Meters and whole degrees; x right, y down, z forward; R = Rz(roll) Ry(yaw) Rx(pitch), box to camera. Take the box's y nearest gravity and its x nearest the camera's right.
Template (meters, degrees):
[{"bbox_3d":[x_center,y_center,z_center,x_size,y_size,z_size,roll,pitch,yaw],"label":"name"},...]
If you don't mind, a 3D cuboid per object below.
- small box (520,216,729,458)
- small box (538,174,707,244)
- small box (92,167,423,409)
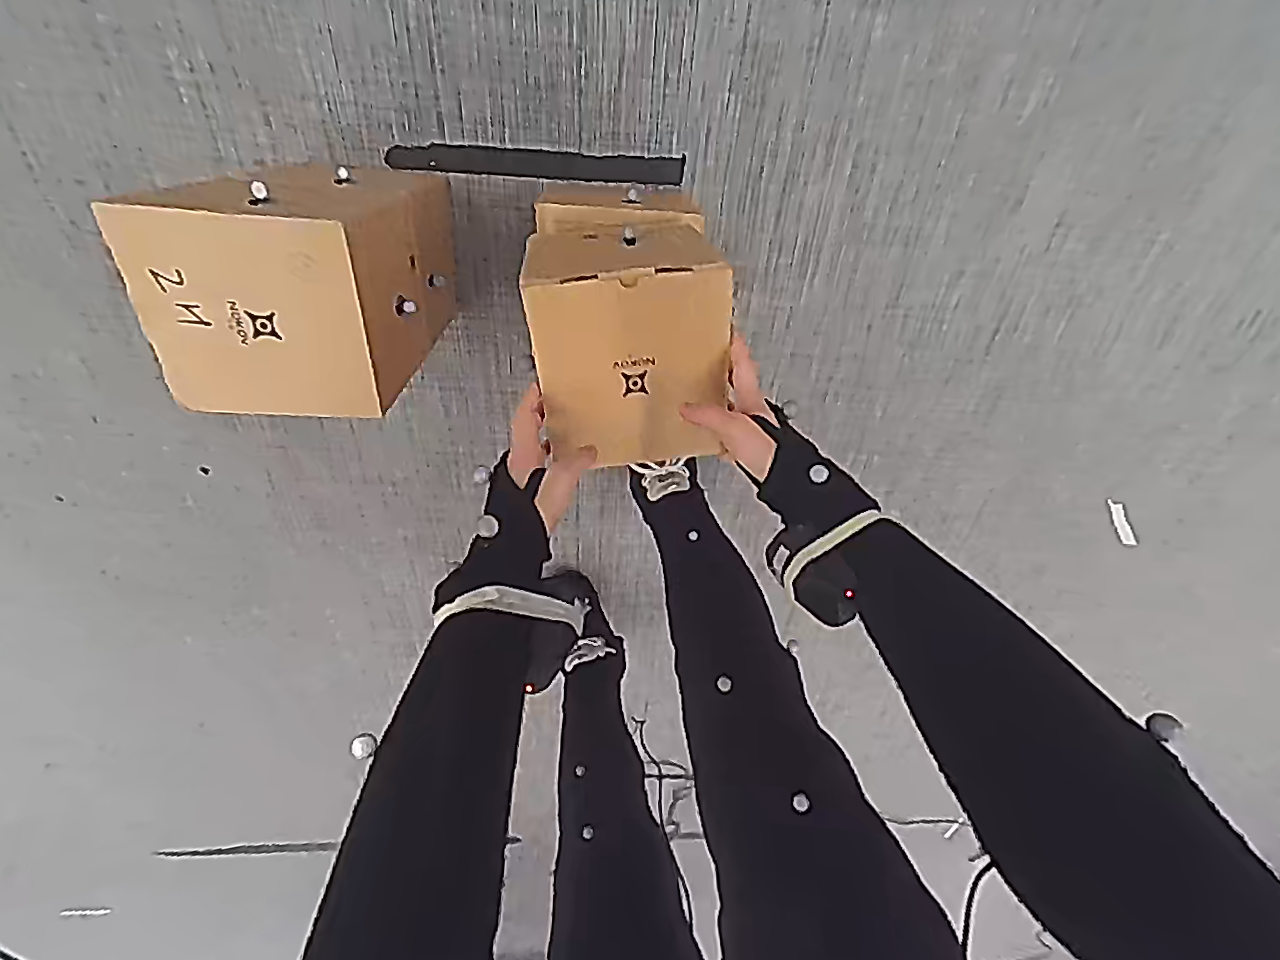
[{"bbox_3d":[-0.016,-0.144,0.529,0.168,0.176,0.179,-7,125,-4],"label":"small box"},{"bbox_3d":[-0.027,-0.266,0.659,0.179,0.176,0.168,2,125,-4],"label":"small box"},{"bbox_3d":[-0.311,-0.180,0.496,0.179,0.176,0.168,3,124,-6],"label":"small box"}]
